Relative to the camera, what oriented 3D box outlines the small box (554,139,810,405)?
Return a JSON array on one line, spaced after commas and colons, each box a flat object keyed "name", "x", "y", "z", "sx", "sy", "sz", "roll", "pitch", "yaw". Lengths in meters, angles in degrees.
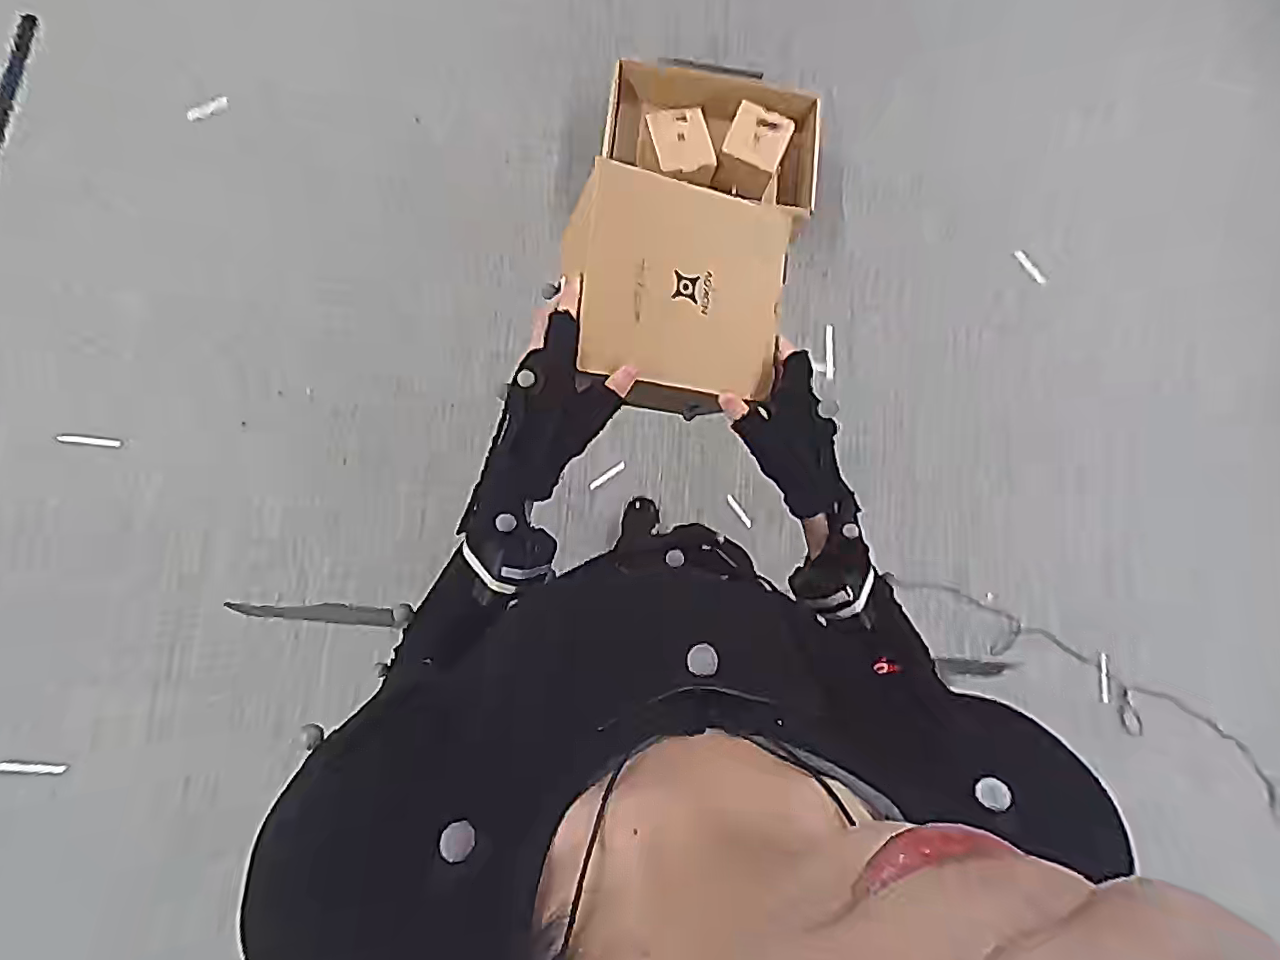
[{"name": "small box", "x": 0.027, "y": -0.165, "z": 0.499, "sx": 0.179, "sy": 0.176, "sz": 0.168, "roll": 6, "pitch": 90, "yaw": -18}]
